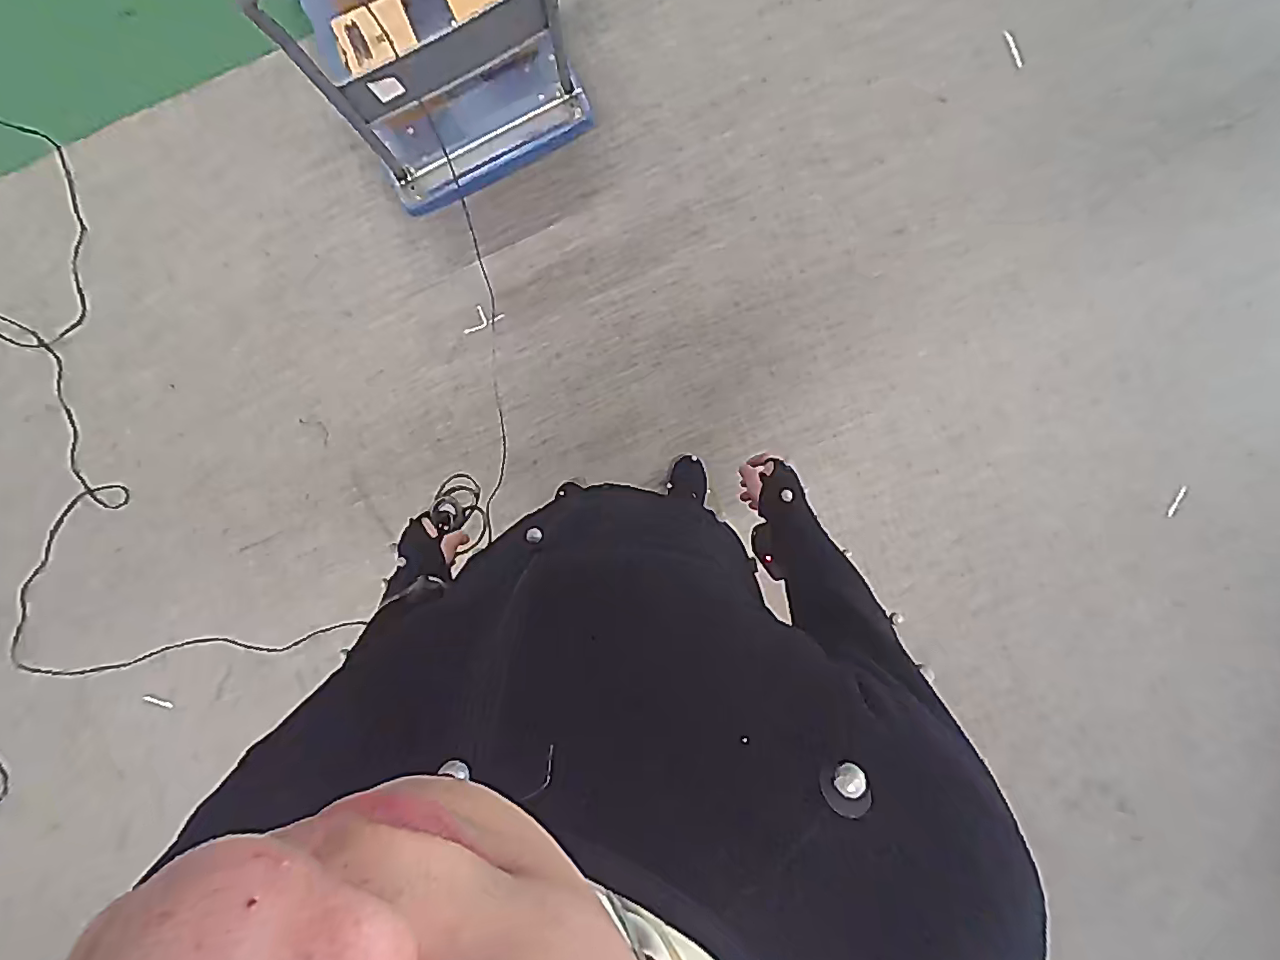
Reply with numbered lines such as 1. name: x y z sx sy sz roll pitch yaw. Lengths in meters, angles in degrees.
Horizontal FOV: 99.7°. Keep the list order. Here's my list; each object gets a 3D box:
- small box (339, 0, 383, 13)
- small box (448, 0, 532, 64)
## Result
1. small box: -0.722 -1.307 1.325 0.168 0.176 0.179 -29 92 1
2. small box: -0.386 -1.189 1.328 0.168 0.176 0.179 -25 93 2
